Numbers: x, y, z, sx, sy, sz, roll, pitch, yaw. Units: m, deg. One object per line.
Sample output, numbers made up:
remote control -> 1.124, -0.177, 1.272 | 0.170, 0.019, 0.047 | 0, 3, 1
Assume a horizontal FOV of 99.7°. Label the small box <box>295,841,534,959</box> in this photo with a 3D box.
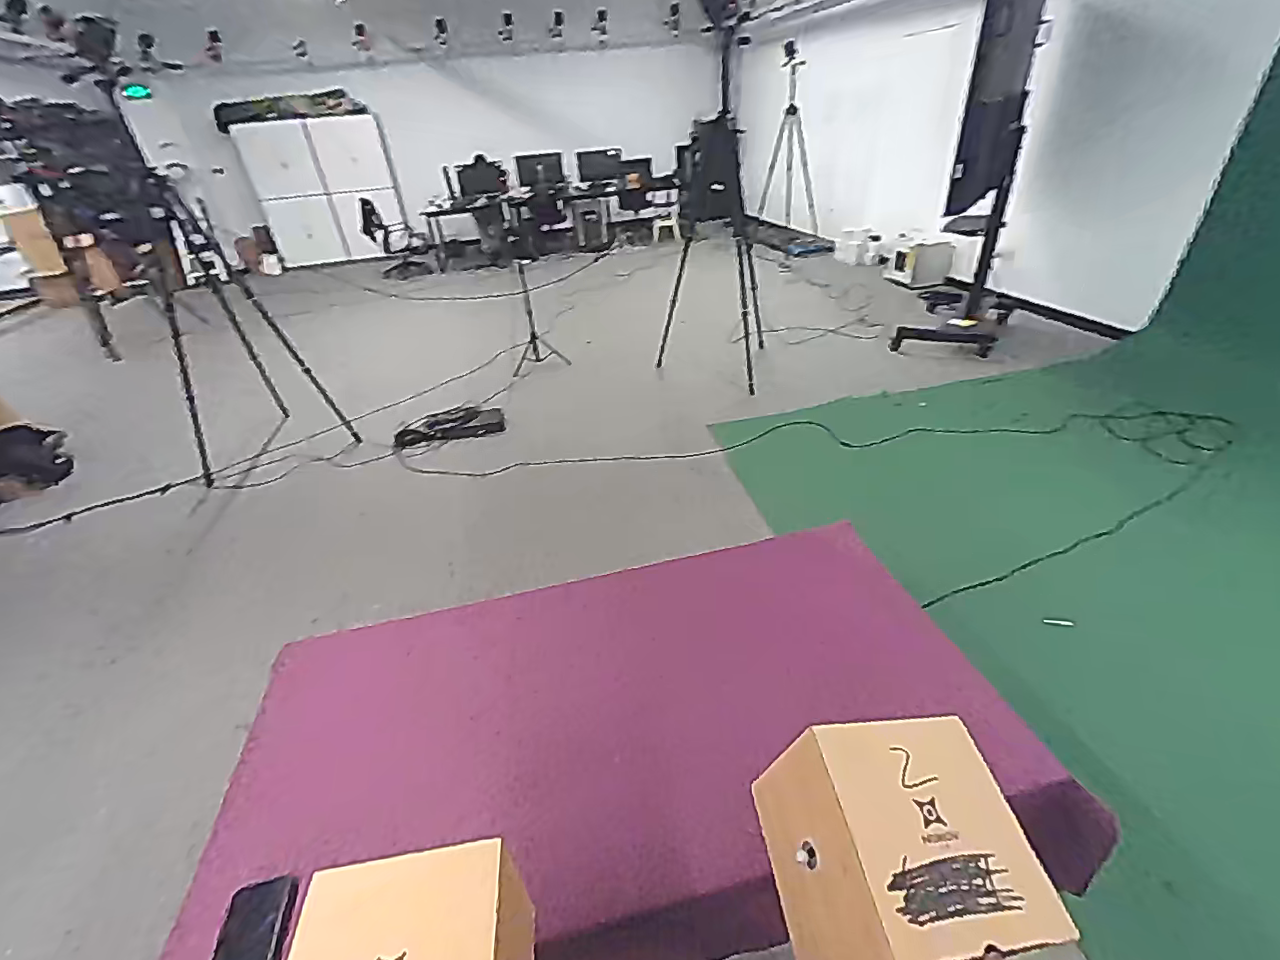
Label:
small box -> -0.184, 0.447, 0.457 | 0.168, 0.176, 0.179 | -7, 36, -5
